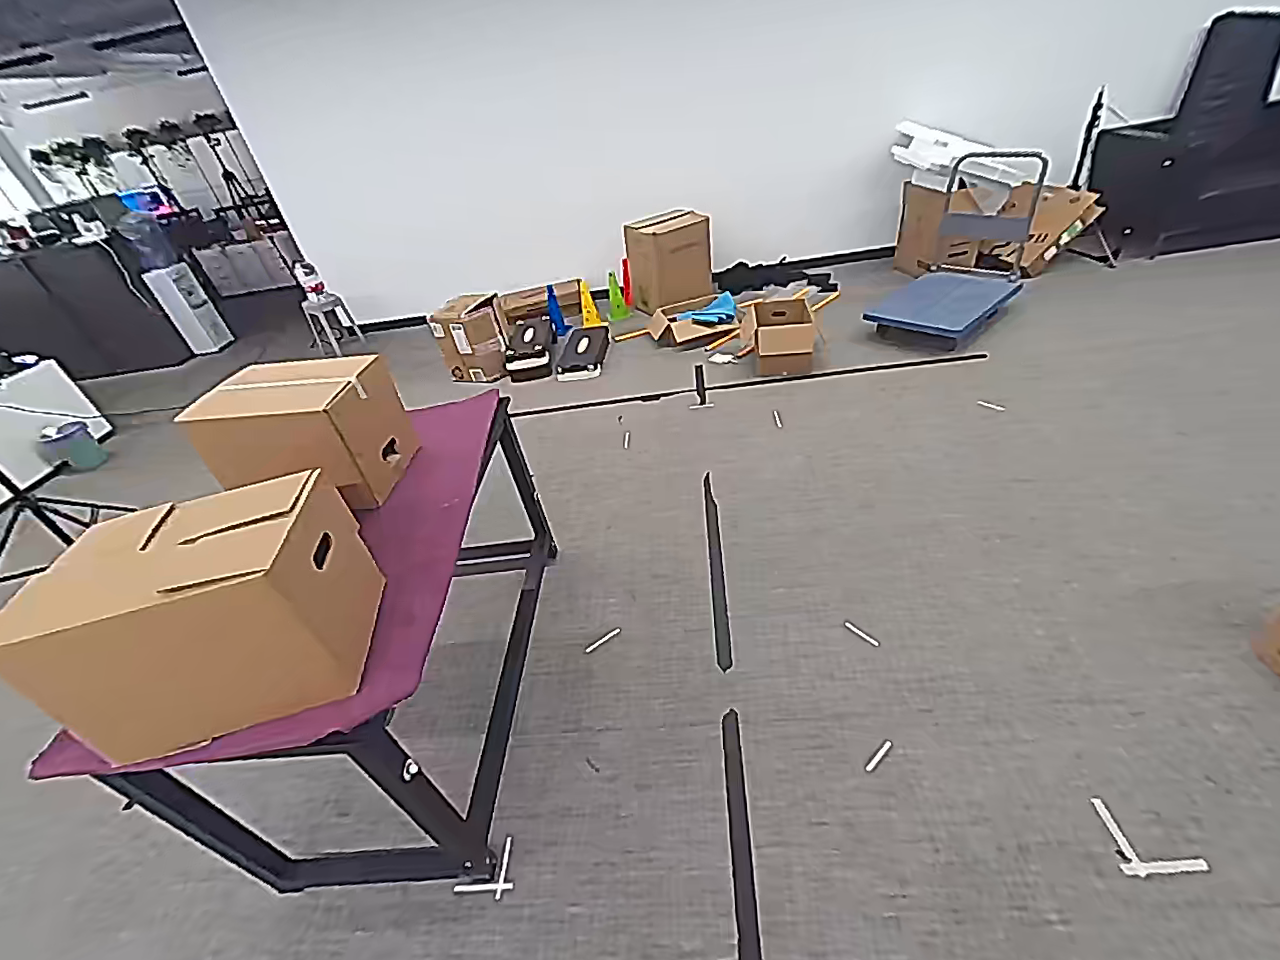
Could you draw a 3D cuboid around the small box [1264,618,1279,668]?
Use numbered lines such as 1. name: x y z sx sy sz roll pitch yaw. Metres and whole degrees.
1. small box: 1.801 0.447 1.401 0.179 0.176 0.168 -8 37 3
